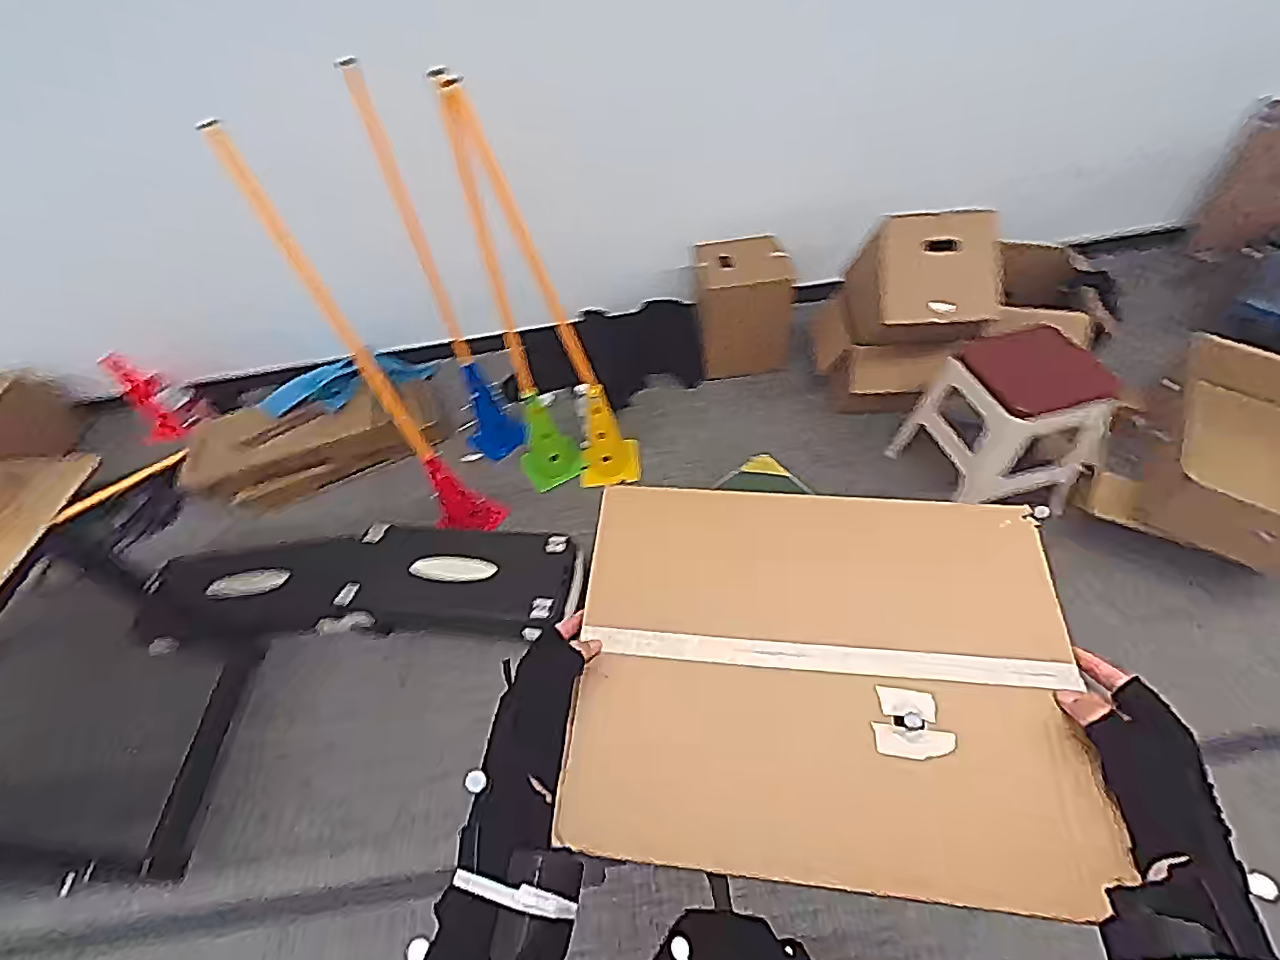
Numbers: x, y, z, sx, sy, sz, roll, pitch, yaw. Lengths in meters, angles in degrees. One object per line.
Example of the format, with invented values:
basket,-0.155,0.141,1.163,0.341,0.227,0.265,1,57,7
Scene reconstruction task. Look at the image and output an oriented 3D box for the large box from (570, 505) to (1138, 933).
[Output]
large box,0.167,0.242,0.589,0.408,0.320,0.320,3,60,8
